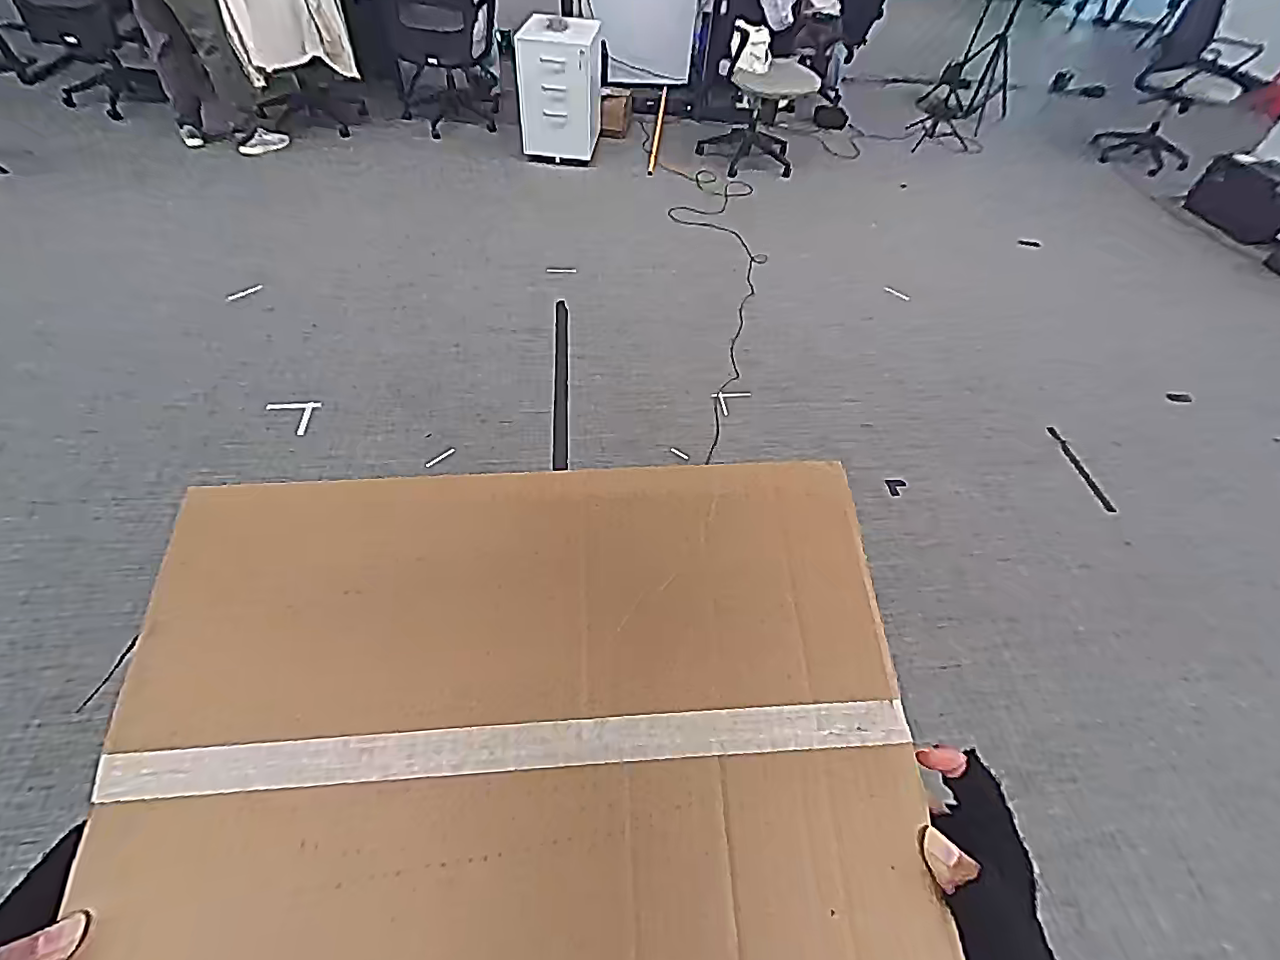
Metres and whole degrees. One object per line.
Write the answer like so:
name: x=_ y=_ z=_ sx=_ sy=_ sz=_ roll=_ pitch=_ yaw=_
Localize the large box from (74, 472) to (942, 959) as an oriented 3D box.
large box: x=-0.068 y=0.207 z=0.421 sx=0.408 sy=0.320 sz=0.320 roll=-2 pitch=66 yaw=-3
